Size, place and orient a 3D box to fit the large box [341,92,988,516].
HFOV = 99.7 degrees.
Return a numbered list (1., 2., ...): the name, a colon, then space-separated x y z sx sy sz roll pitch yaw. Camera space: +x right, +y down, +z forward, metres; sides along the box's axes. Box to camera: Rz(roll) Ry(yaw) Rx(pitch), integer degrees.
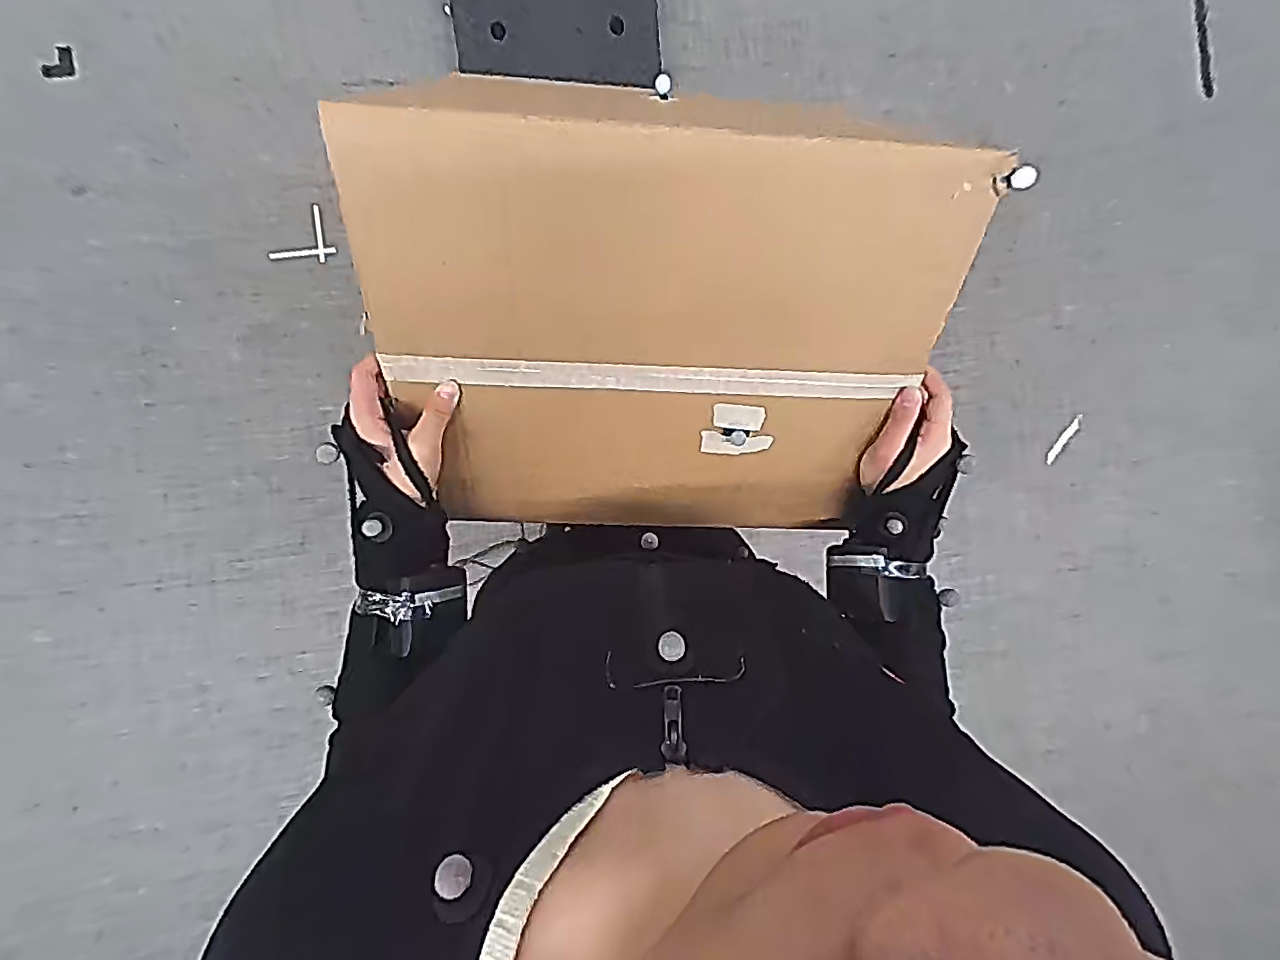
1. large box: 0.006 -0.179 0.533 0.408 0.320 0.320 0 130 -5
